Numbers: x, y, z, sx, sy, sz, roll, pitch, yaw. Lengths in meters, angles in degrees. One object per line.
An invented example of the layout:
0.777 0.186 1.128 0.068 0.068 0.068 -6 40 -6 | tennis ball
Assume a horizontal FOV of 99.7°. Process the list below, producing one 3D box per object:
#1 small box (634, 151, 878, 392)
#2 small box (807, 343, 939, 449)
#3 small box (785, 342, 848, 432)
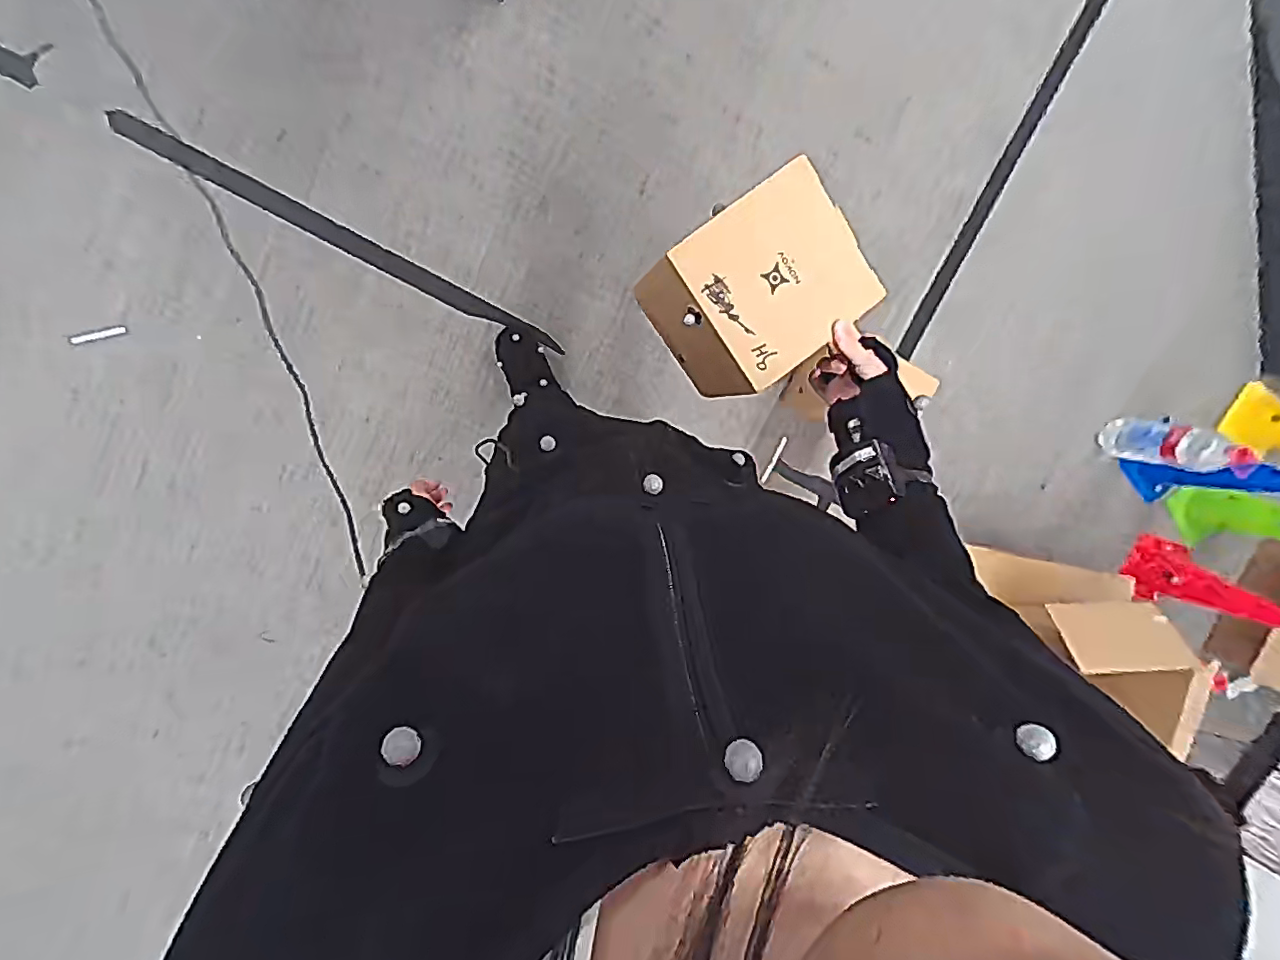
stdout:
0.117 -0.216 0.609 0.179 0.176 0.168 -39 104 -6 | small box
0.506 -0.189 1.204 0.179 0.176 0.168 25 99 -14 | small box
0.489 -0.232 1.362 0.168 0.176 0.179 22 99 -12 | small box
